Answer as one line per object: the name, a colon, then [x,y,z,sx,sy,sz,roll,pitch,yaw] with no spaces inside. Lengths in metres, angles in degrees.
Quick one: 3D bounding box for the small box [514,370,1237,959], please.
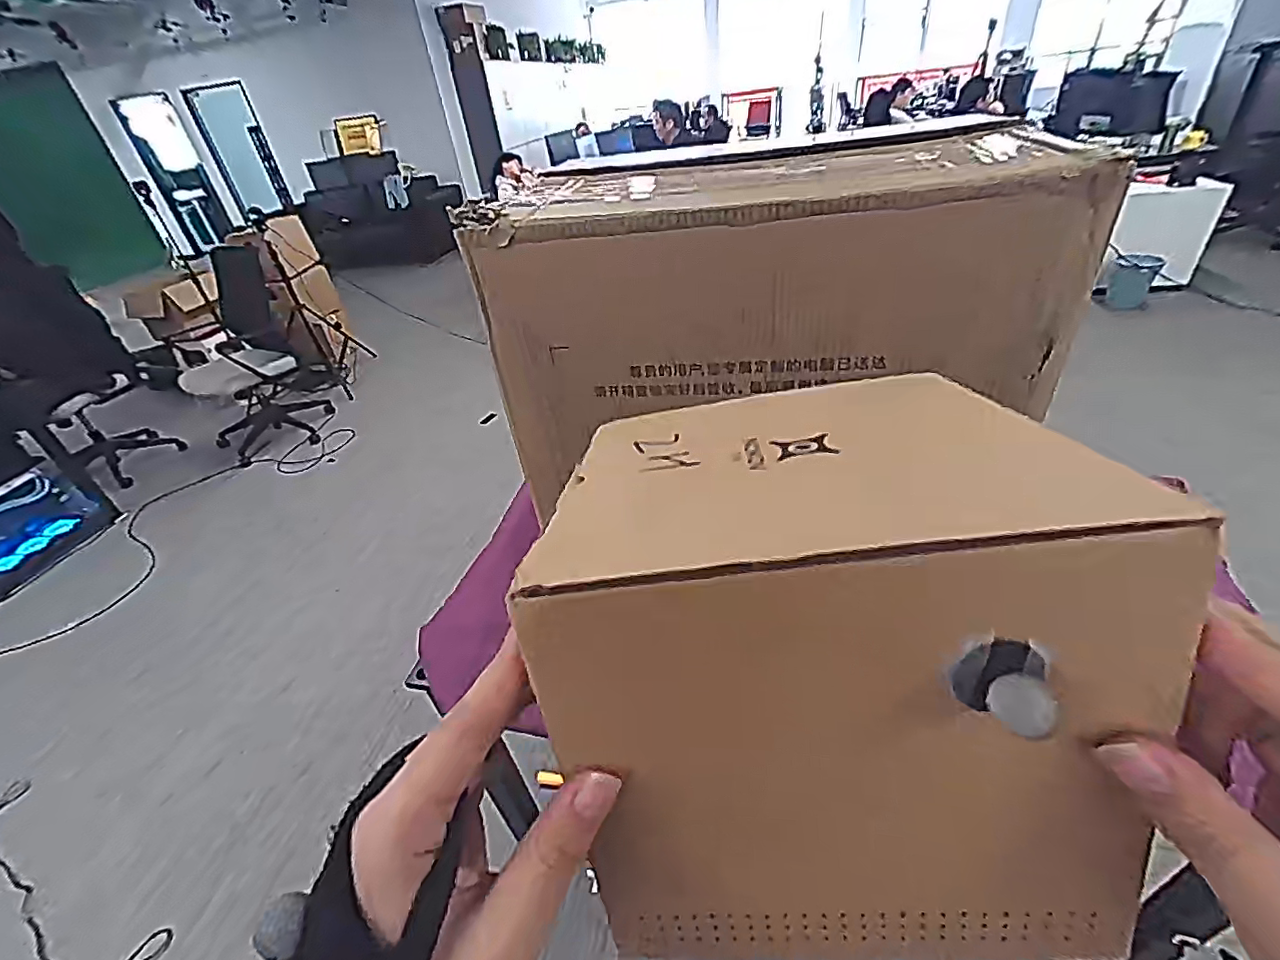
small box: [0.073,0.064,0.235,0.179,0.176,0.168,-8,21,9]
